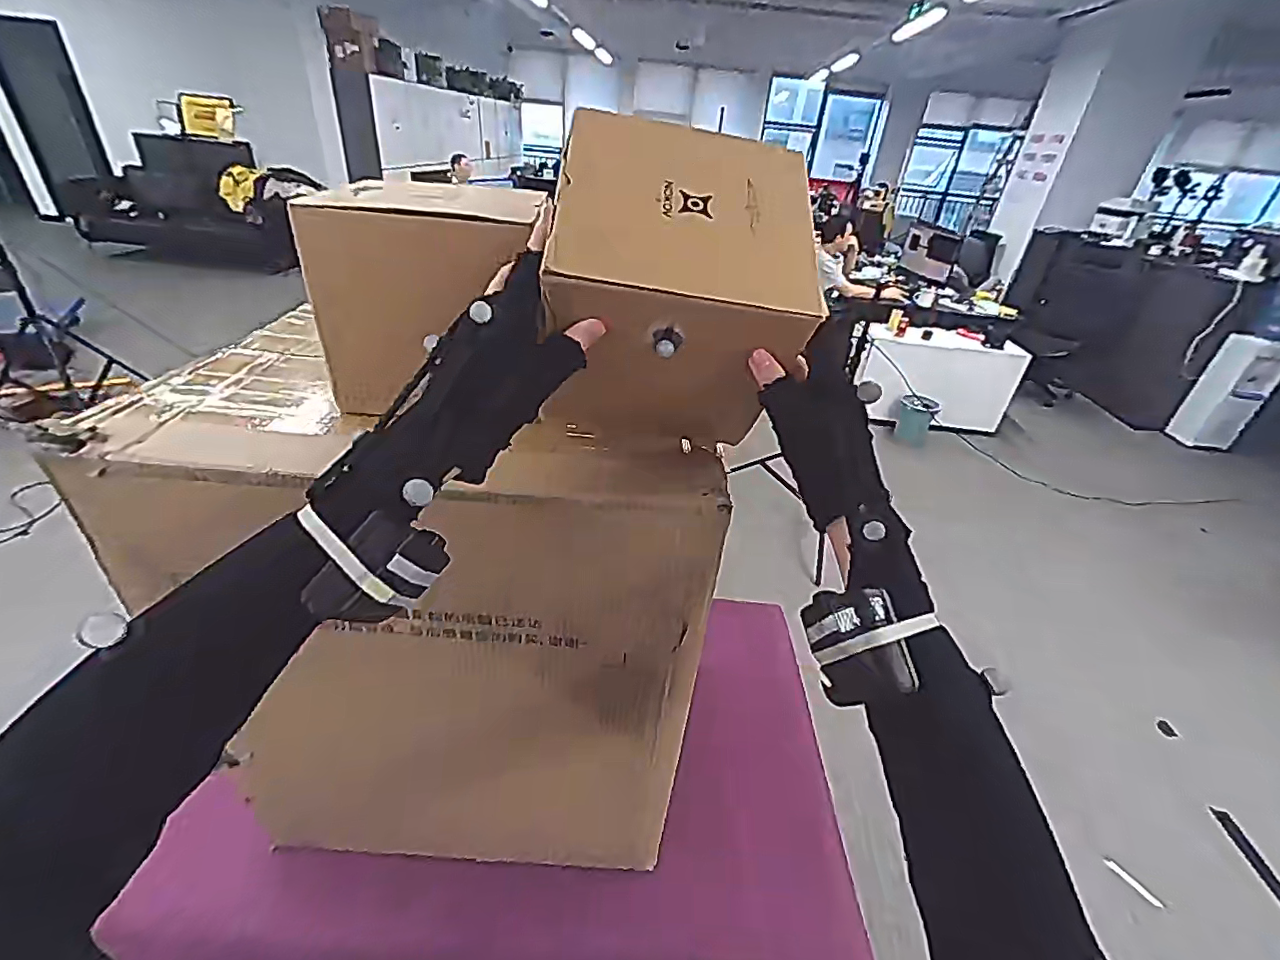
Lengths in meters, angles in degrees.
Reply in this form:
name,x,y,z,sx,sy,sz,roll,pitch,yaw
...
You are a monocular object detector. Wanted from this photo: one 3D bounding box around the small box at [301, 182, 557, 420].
name,x,y,z,sx,sy,sz,roll,pitch,yaw
small box,-0.172,-0.167,0.506,0.179,0.176,0.168,3,32,-7
